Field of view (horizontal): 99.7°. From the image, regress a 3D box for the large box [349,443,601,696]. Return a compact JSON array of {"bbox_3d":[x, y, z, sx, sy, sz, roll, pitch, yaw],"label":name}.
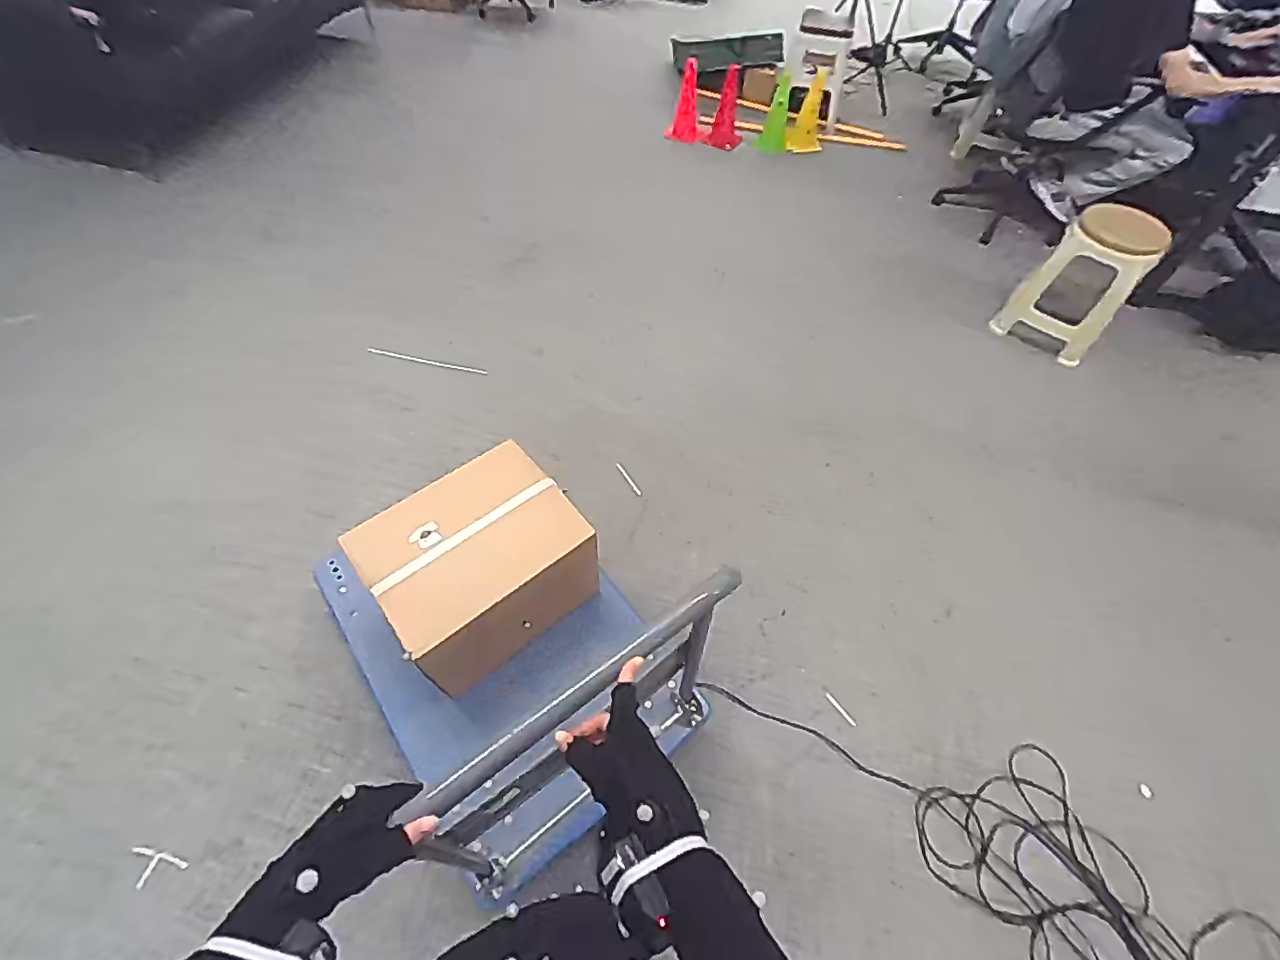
[{"bbox_3d":[-0.333,0.200,1.204,0.408,0.320,0.320,-36,64,-23],"label":"large box"}]
